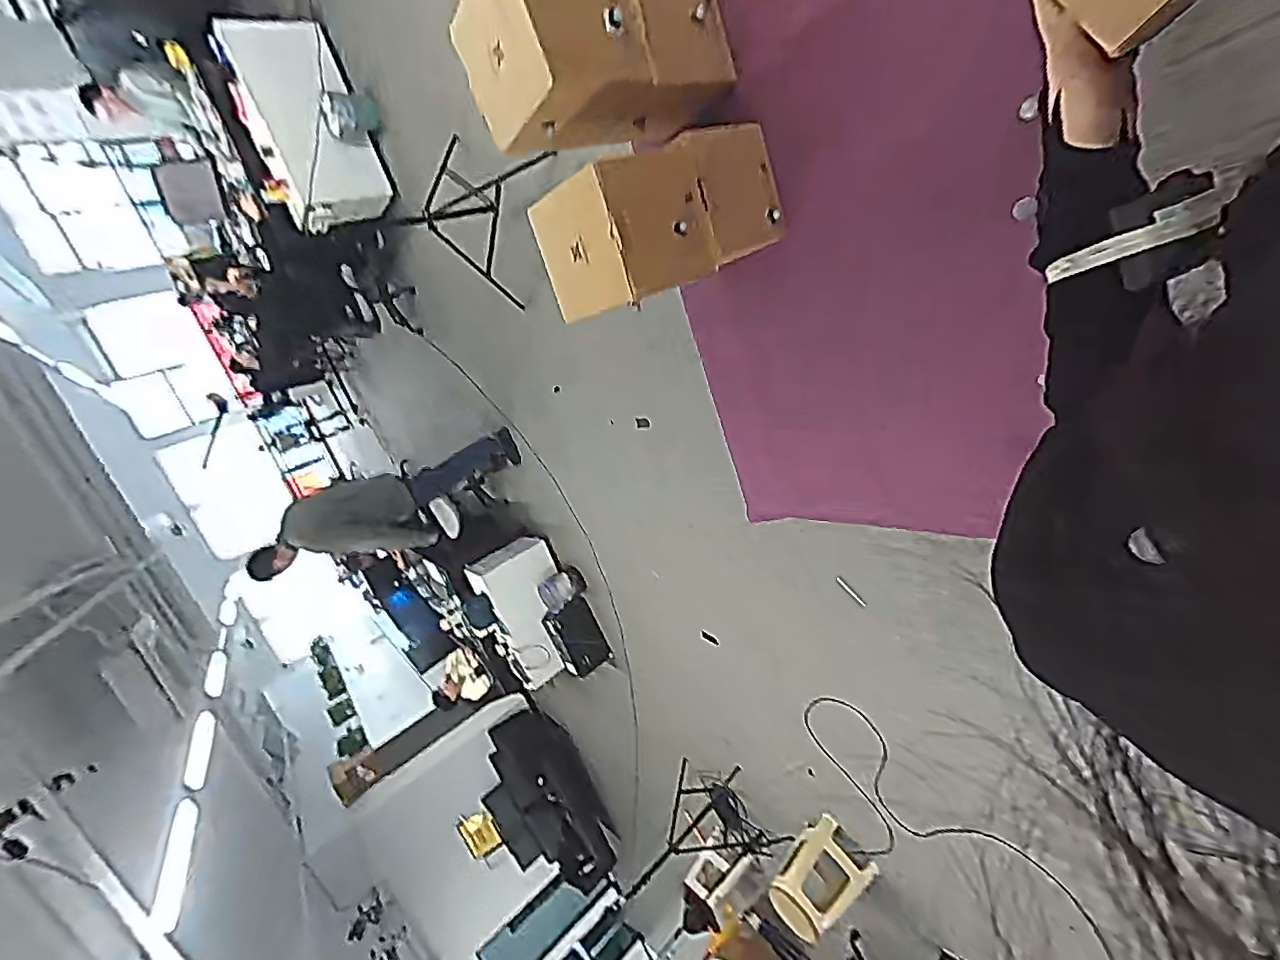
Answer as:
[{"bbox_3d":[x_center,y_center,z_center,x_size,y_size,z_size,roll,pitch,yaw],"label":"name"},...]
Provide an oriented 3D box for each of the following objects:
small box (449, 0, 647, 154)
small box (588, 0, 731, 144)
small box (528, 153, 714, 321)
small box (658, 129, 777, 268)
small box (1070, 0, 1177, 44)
[{"bbox_3d":[-0.121,-0.567,0.720,0.179,0.176,0.168,-3,113,54],"label":"small box"},{"bbox_3d":[0.004,-0.631,0.804,0.179,0.176,0.168,1,117,53],"label":"small box"},{"bbox_3d":[-0.025,-0.340,0.769,0.179,0.176,0.168,4,118,52],"label":"small box"},{"bbox_3d":[0.093,-0.422,0.847,0.179,0.176,0.168,1,116,54],"label":"small box"},{"bbox_3d":[0.295,-0.380,0.280,0.179,0.176,0.168,50,146,2],"label":"small box"}]
